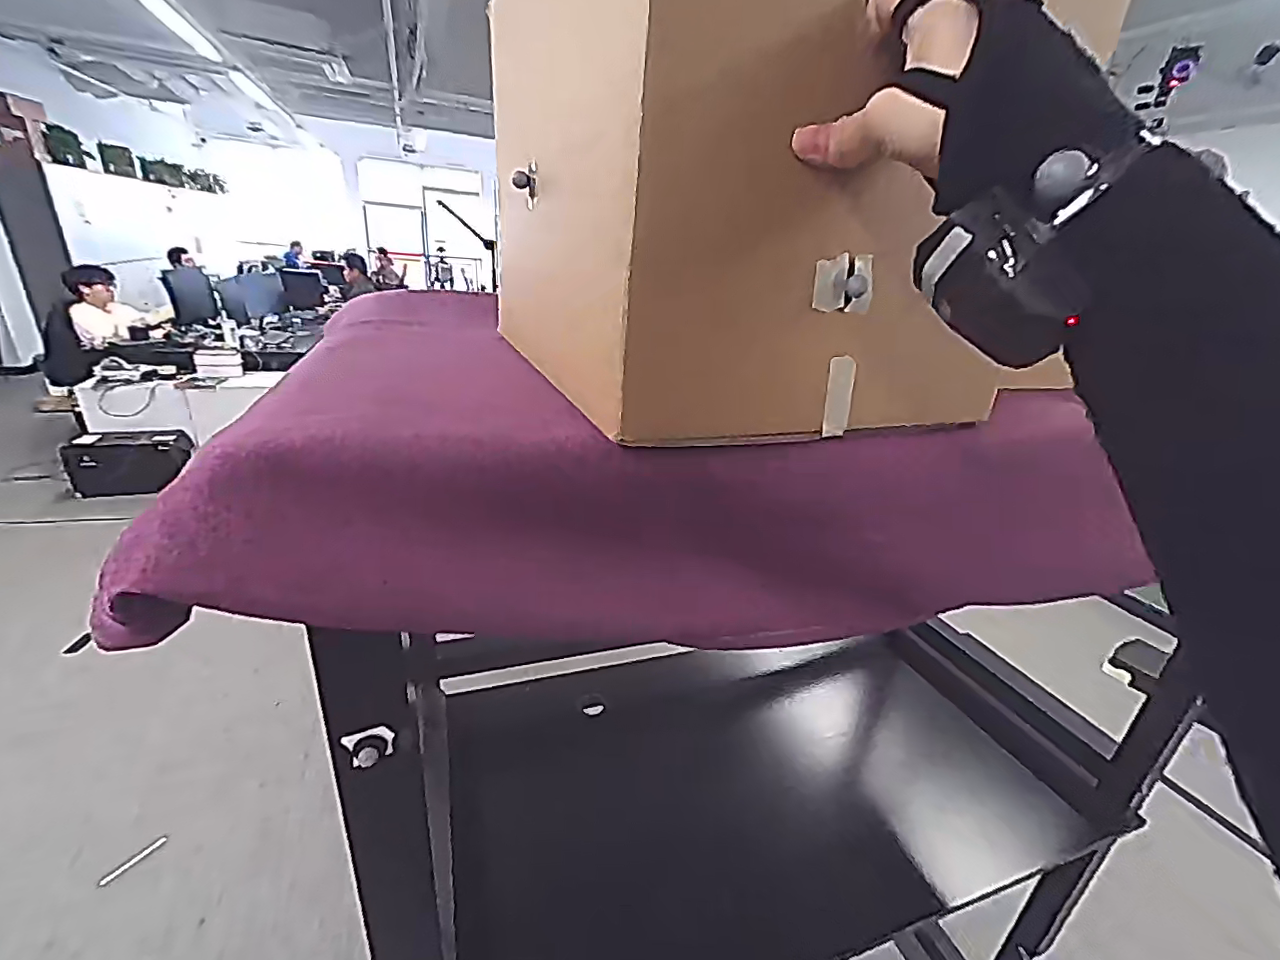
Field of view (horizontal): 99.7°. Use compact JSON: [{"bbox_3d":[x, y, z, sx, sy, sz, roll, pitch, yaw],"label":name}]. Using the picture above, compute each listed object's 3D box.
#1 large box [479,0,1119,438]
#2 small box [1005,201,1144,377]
[{"bbox_3d":[0.061,-0.246,0.456,0.320,0.320,0.408,-5,23,-23],"label":"large box"},{"bbox_3d":[0.396,-0.214,0.615,0.179,0.176,0.168,-4,23,-18],"label":"small box"}]
